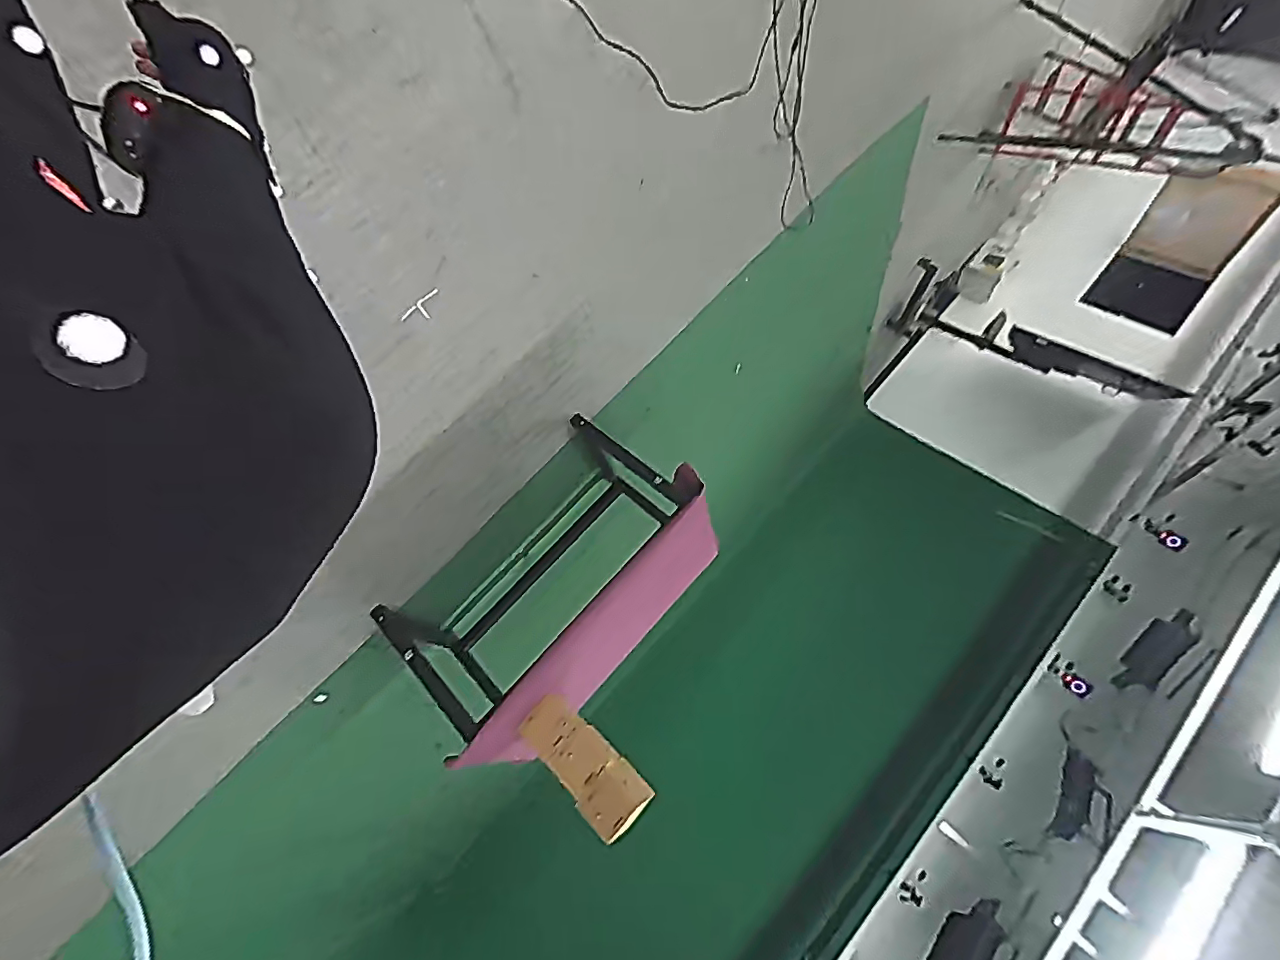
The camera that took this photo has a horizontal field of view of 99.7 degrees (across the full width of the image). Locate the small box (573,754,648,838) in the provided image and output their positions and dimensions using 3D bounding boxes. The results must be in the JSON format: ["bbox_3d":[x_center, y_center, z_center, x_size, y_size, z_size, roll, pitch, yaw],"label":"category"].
[{"bbox_3d":[-0.105,1.101,1.899,0.168,0.176,0.179,-52,155,1],"label":"small box"}]

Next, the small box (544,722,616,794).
[{"bbox_3d":[-0.216,1.005,1.970,0.168,0.176,0.179,-48,154,-9],"label":"small box"}]
